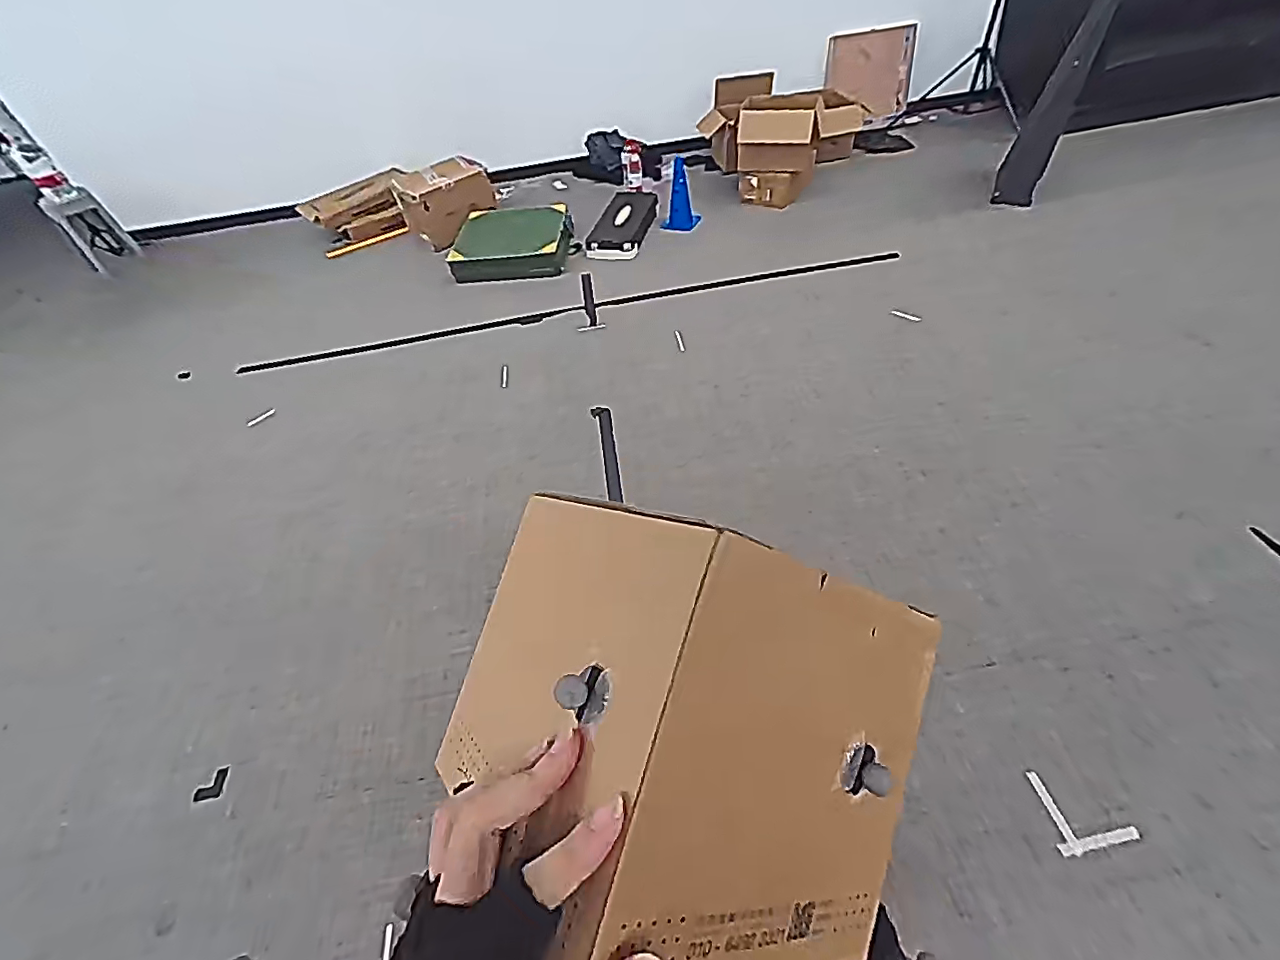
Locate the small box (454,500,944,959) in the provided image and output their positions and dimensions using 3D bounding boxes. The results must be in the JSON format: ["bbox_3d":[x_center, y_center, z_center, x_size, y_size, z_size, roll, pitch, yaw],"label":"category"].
[{"bbox_3d":[0.023,0.121,0.294,0.179,0.168,0.176,5,74,56],"label":"small box"}]
